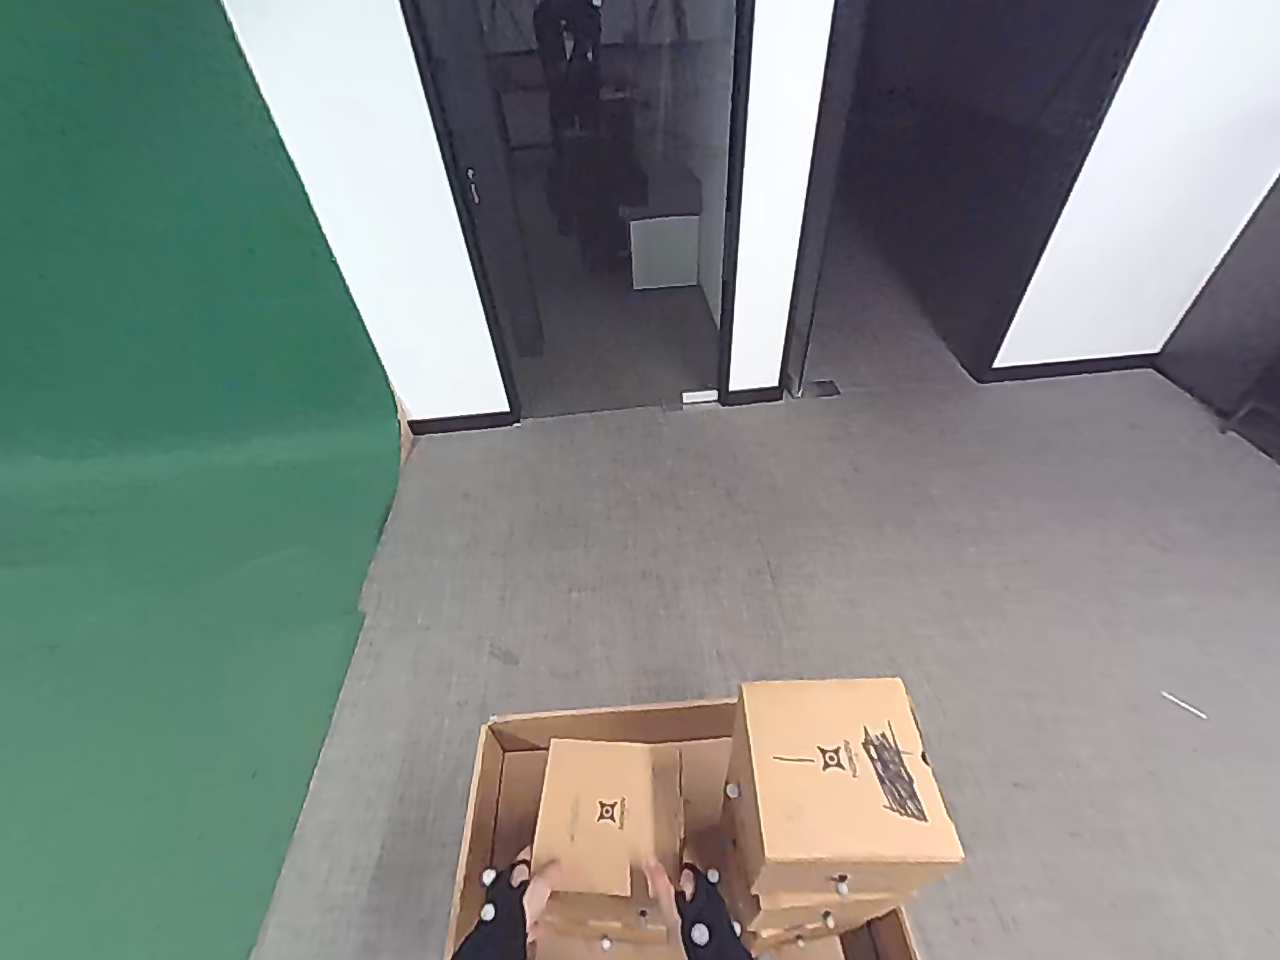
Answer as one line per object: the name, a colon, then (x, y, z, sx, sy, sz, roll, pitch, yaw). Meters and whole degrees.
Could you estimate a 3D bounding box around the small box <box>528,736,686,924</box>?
small box: (-0.033, 0.457, 0.706, 0.179, 0.176, 0.168, 3, 42, 3)

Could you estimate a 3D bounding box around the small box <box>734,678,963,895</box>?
small box: (0.201, 0.330, 0.583, 0.179, 0.176, 0.168, -2, 44, 3)
